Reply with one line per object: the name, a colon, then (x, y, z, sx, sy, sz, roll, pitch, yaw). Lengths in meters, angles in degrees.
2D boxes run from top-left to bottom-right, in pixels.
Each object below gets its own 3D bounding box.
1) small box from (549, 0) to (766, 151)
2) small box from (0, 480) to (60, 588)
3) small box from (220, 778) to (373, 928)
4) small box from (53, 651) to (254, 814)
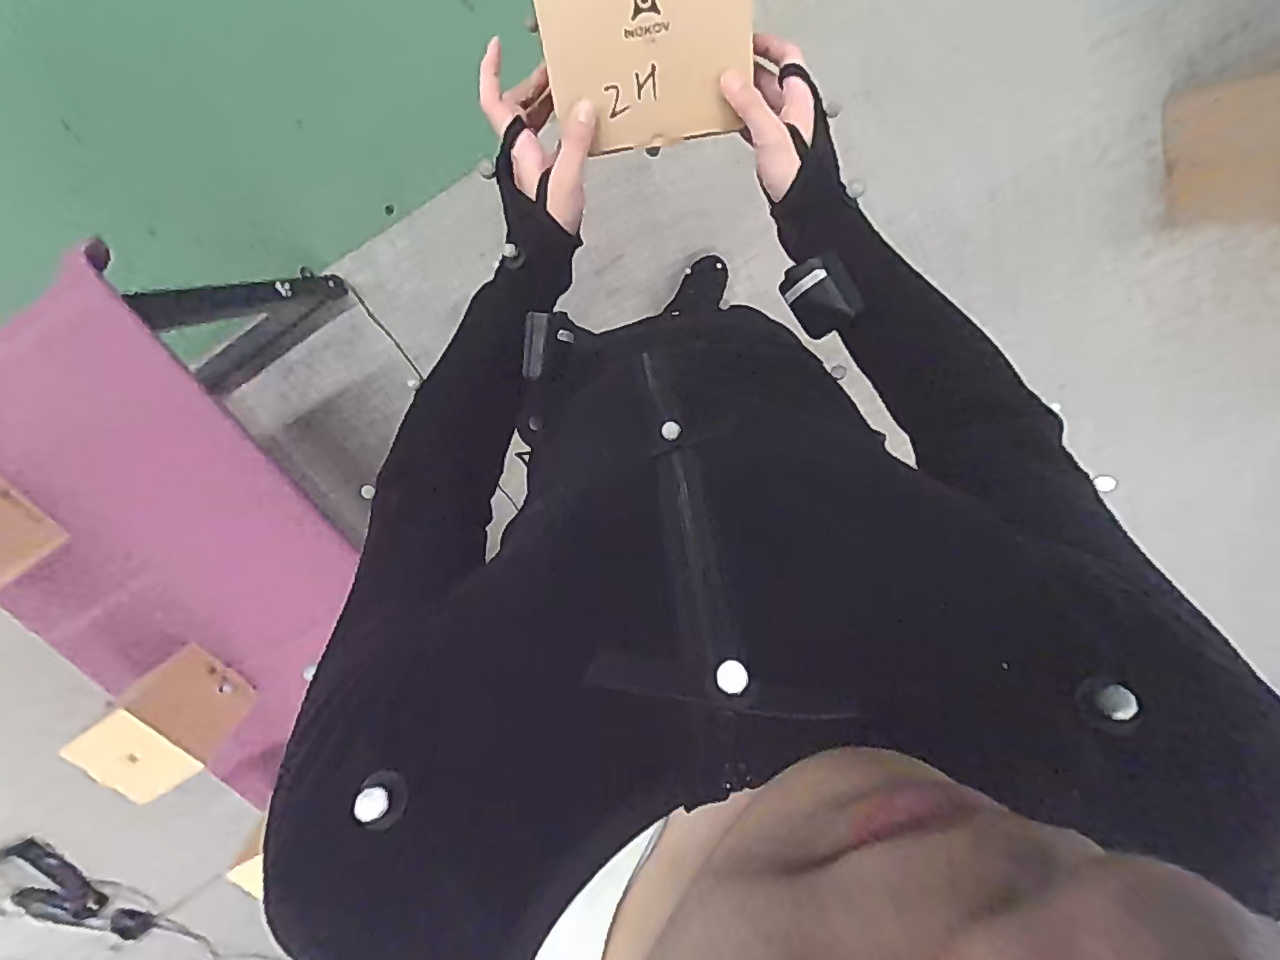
small box: (0.011, -0.403, 0.474, 0.168, 0.176, 0.179, -6, 125, 3)
small box: (-1.083, 0.111, 0.832, 0.179, 0.176, 0.168, -30, 110, 11)
small box: (-0.677, 0.748, 1.096, 0.179, 0.176, 0.168, -32, 109, 12)
small box: (-0.857, 0.448, 0.974, 0.179, 0.176, 0.168, -32, 110, 11)
